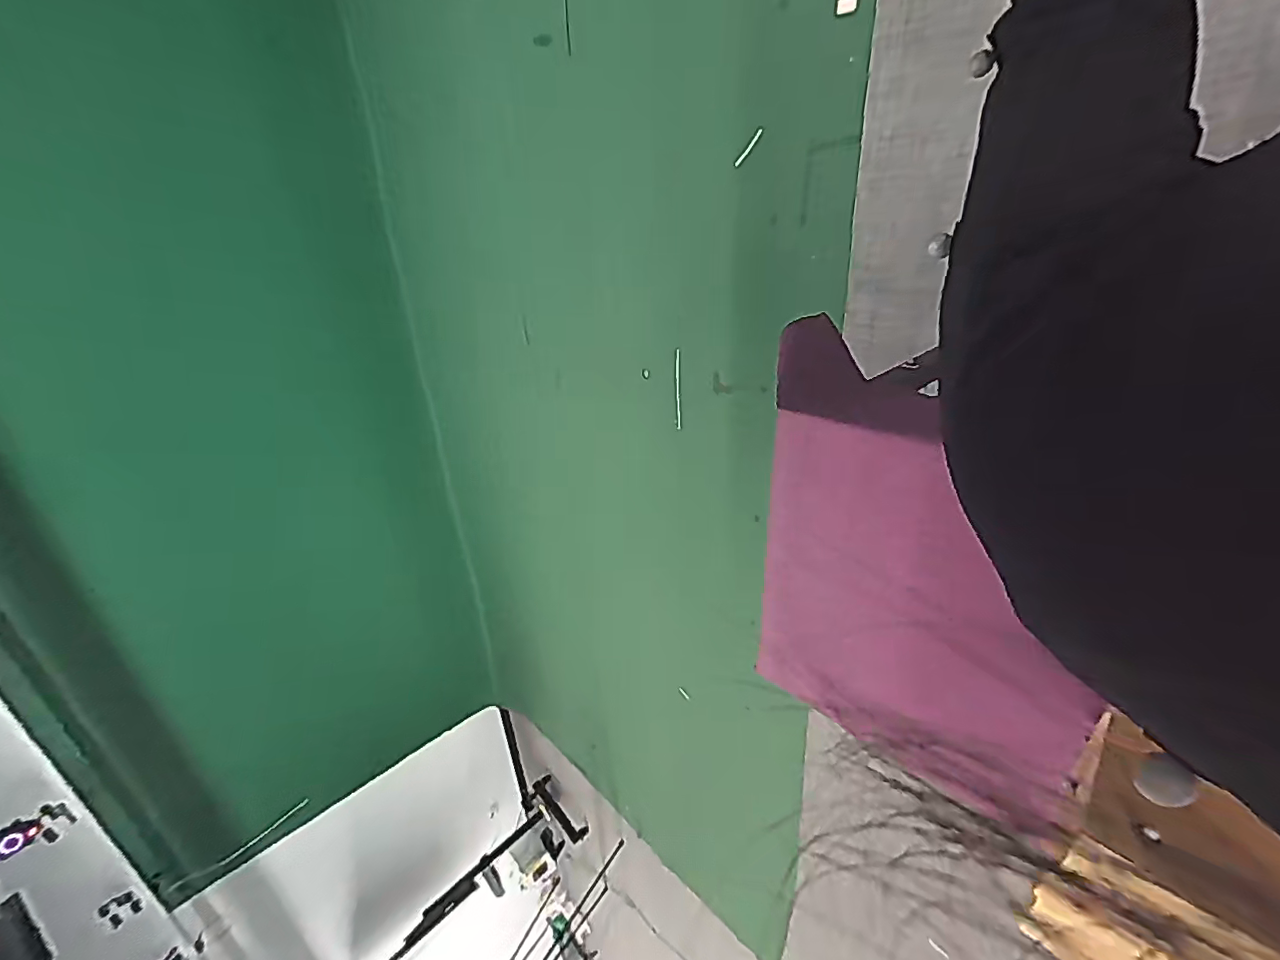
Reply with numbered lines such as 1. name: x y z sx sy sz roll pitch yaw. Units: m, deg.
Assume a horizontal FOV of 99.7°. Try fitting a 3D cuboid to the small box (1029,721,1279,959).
1. small box: 0.489 0.356 0.474 0.179 0.176 0.168 26 128 40
